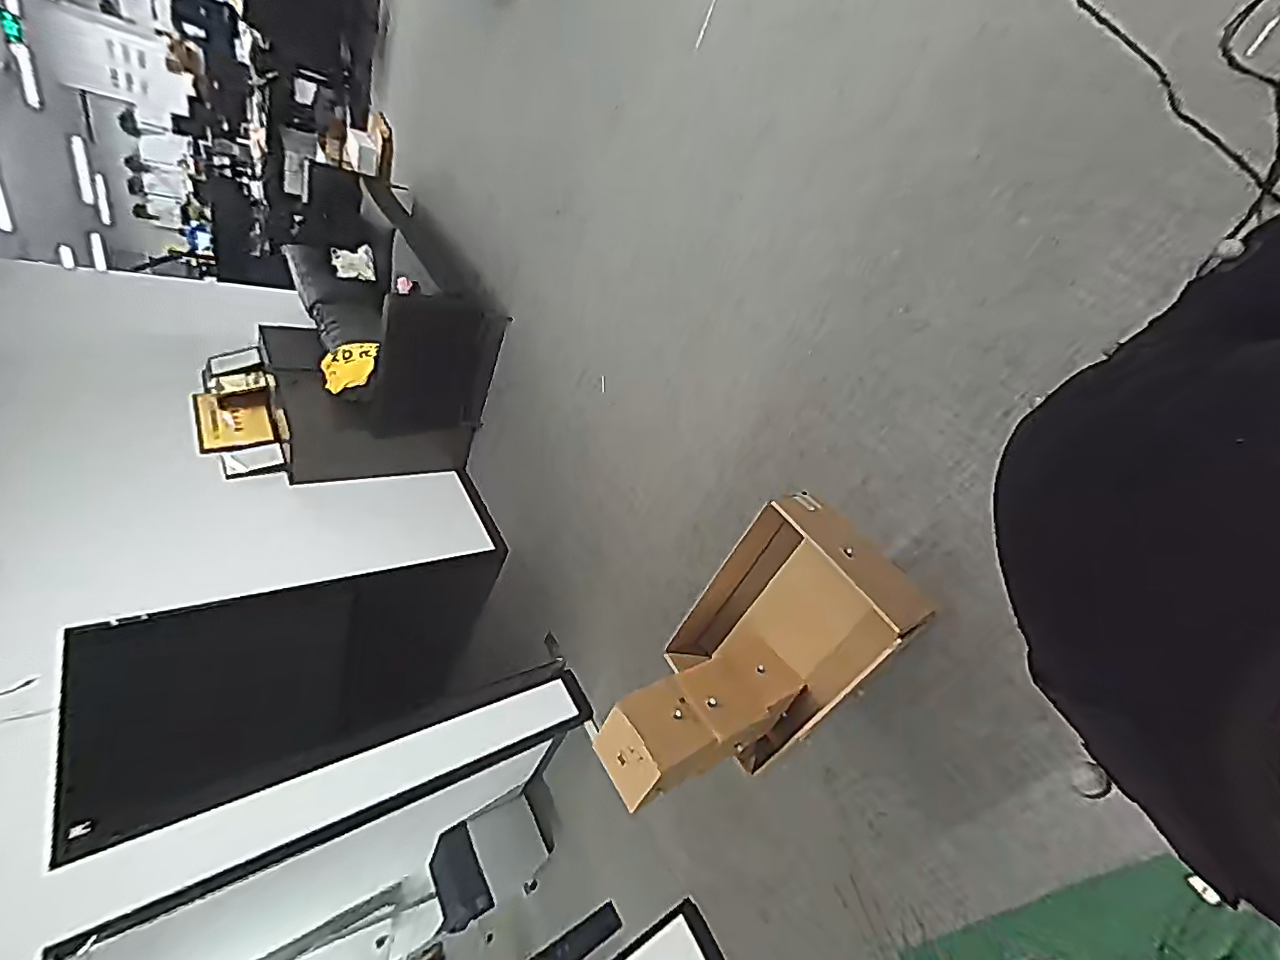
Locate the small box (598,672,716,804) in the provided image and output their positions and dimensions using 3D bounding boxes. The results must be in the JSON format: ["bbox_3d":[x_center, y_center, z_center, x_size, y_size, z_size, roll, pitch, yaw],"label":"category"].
[{"bbox_3d":[0.039,0.558,1.186,0.168,0.176,0.179,48,128,33],"label":"small box"}]

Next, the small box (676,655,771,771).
[{"bbox_3d":[0.172,0.539,1.282,0.179,0.176,0.168,46,128,35],"label":"small box"}]
